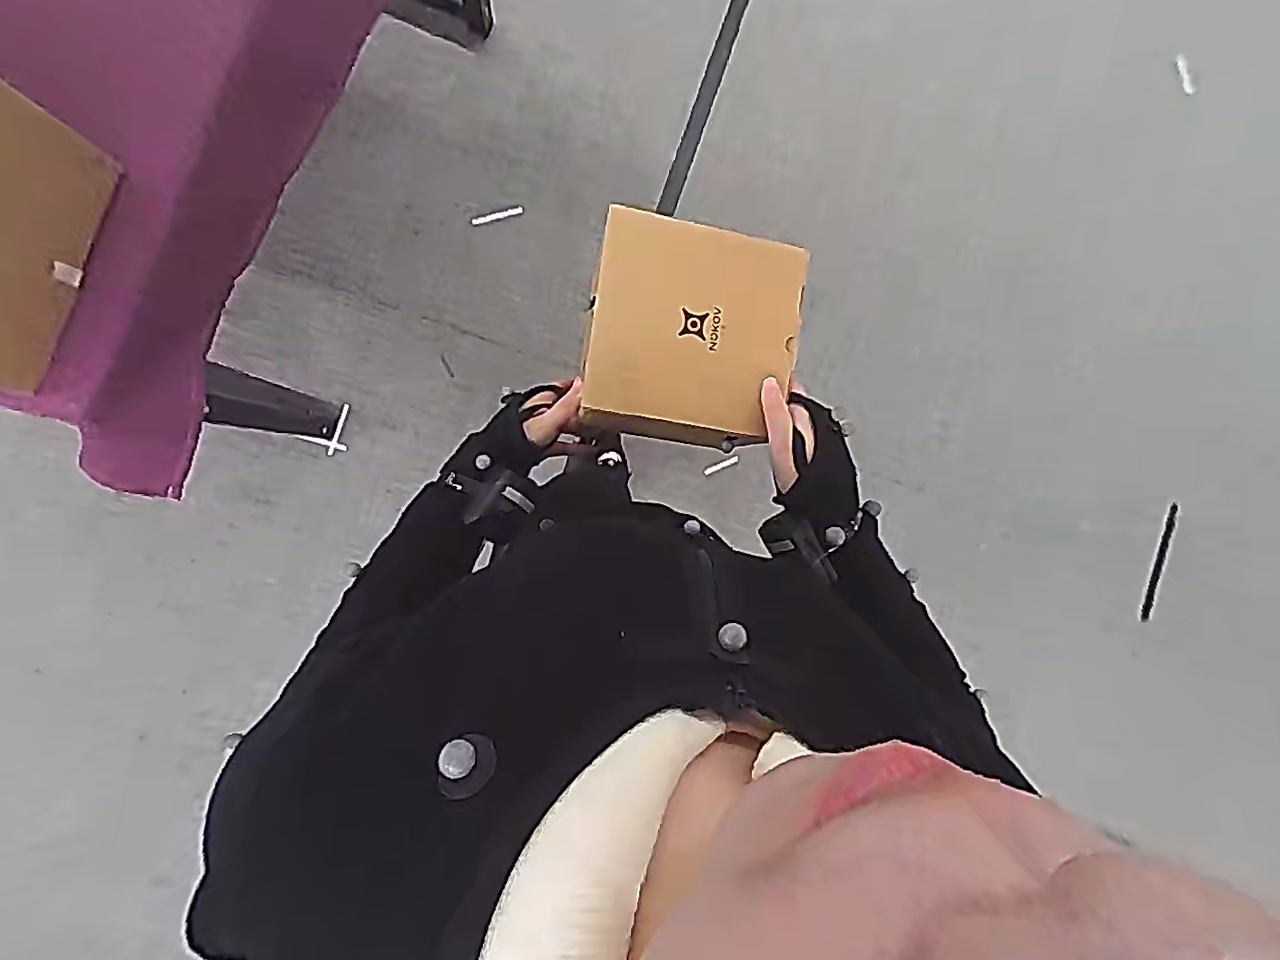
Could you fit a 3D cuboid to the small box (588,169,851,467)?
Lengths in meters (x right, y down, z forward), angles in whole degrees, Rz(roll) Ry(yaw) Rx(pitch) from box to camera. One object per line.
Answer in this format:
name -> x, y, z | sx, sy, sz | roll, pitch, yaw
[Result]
small box -> 0.062, -0.126, 0.482 | 0.168, 0.176, 0.179 | 8, 71, -28
